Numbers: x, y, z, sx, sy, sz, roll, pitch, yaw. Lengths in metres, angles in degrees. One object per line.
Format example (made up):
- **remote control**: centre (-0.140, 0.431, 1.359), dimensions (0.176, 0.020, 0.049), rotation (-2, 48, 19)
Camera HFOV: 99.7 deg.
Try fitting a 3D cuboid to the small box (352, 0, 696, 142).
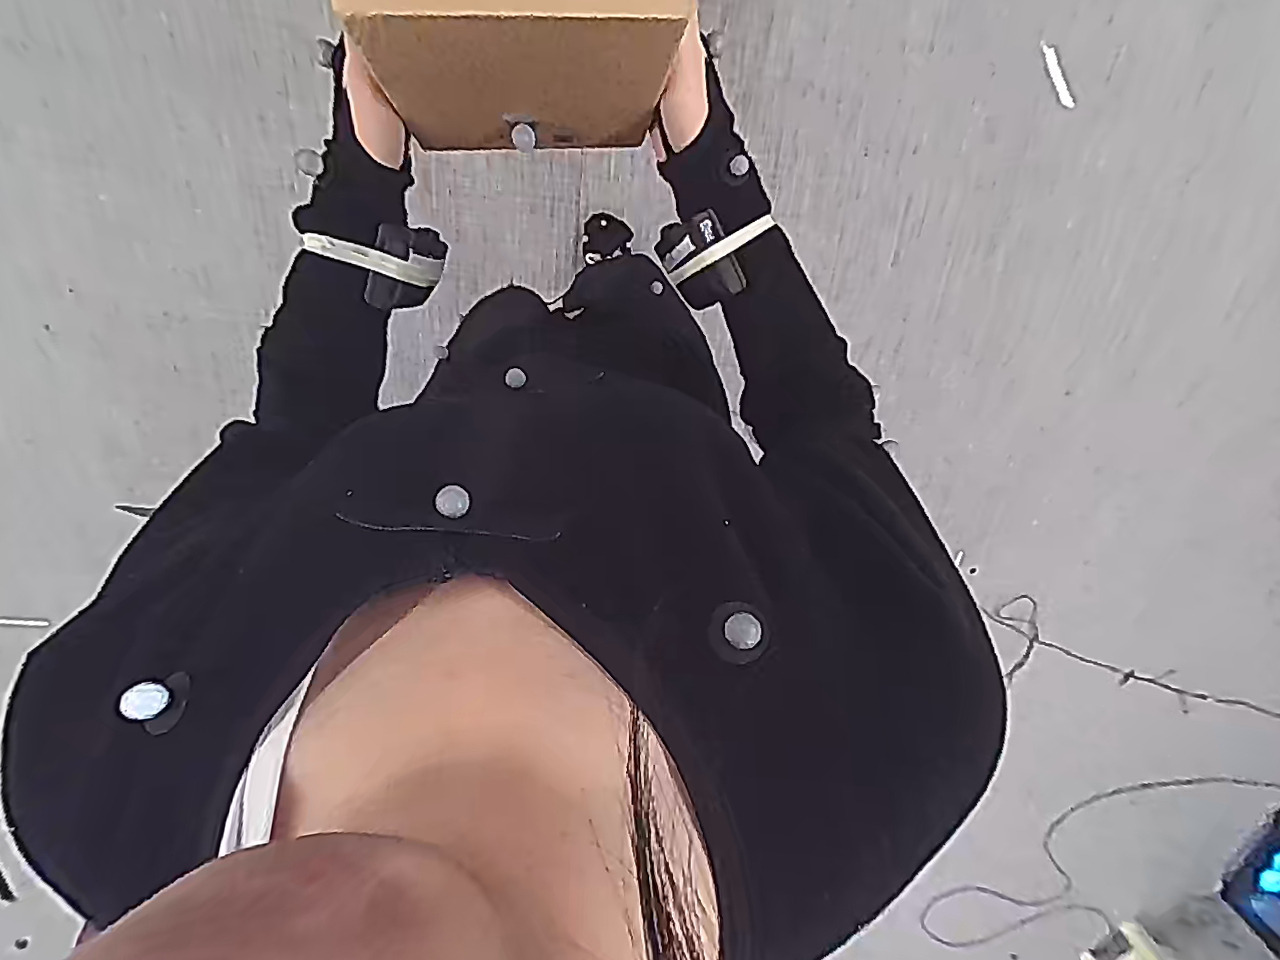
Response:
- **small box**: centre (-0.069, -0.320, 0.305), dimensions (0.168, 0.176, 0.179), rotation (-6, 104, -7)
